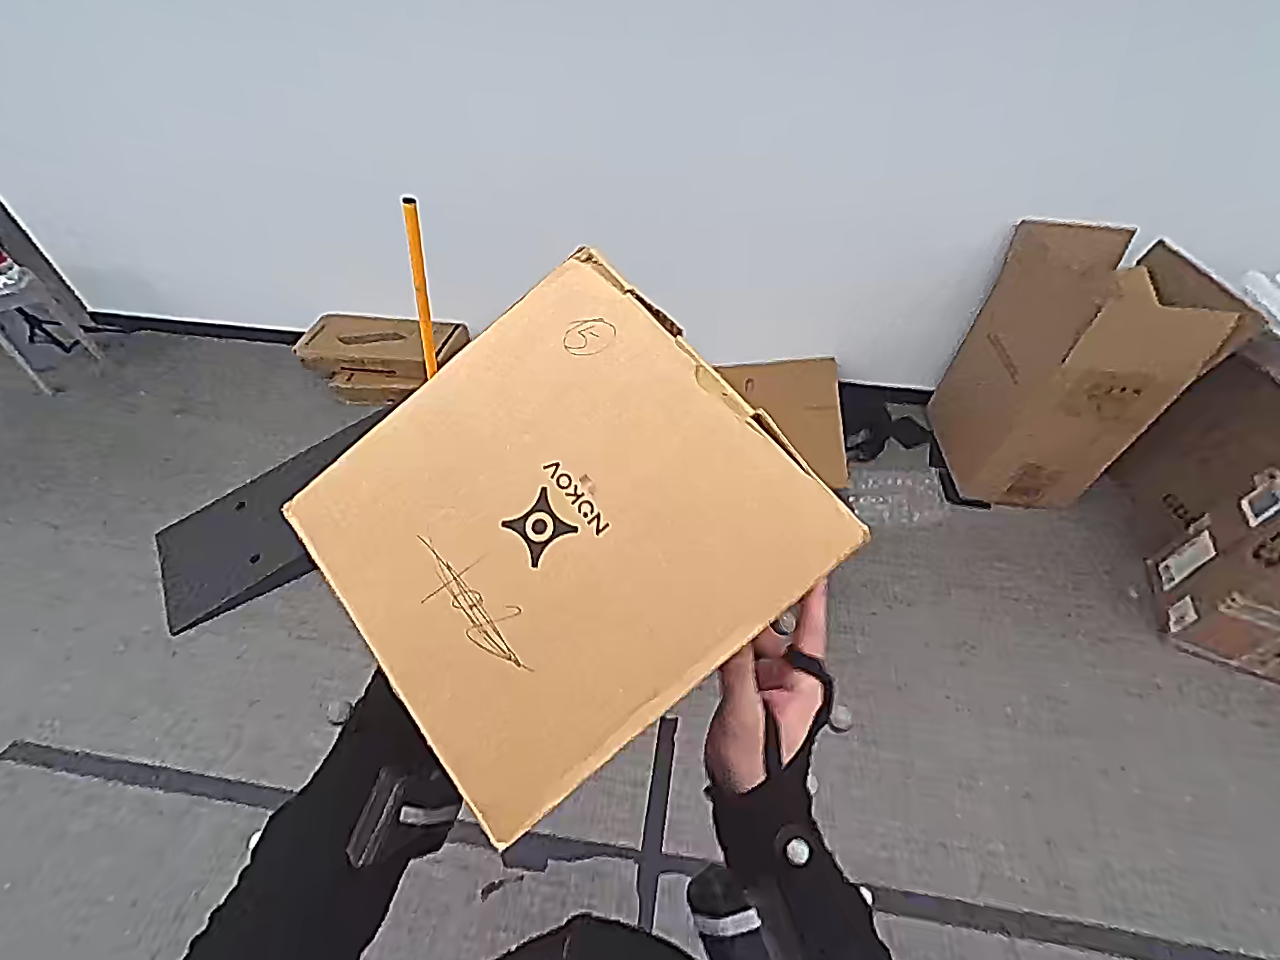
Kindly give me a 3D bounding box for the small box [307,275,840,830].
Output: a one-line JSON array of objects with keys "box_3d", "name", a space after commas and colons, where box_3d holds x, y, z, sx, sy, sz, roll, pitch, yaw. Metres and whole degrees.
[{"box_3d": [-0.024, 0.035, 0.302, 0.179, 0.176, 0.168, -42, 73, 1], "name": "small box"}]
